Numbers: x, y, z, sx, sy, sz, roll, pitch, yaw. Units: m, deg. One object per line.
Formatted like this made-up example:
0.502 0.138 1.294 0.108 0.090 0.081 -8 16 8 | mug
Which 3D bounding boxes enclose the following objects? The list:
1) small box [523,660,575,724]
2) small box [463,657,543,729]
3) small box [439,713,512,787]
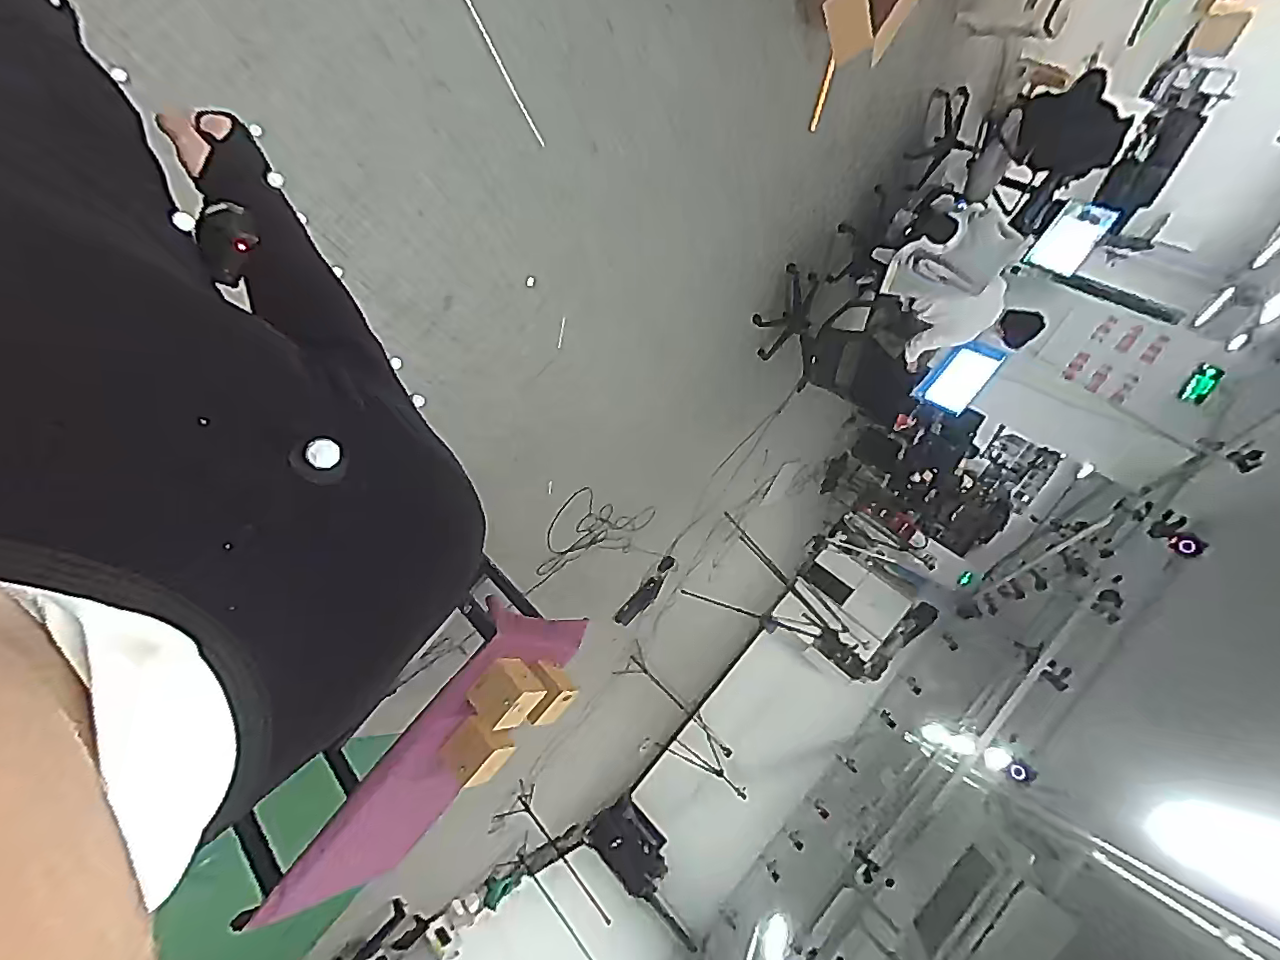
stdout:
-0.400 0.847 2.170 0.179 0.176 0.168 -49 153 -4 | small box
-0.484 0.747 1.910 0.168 0.176 0.179 -50 155 -3 | small box
-0.619 0.999 2.014 0.179 0.176 0.168 -49 154 -5 | small box
